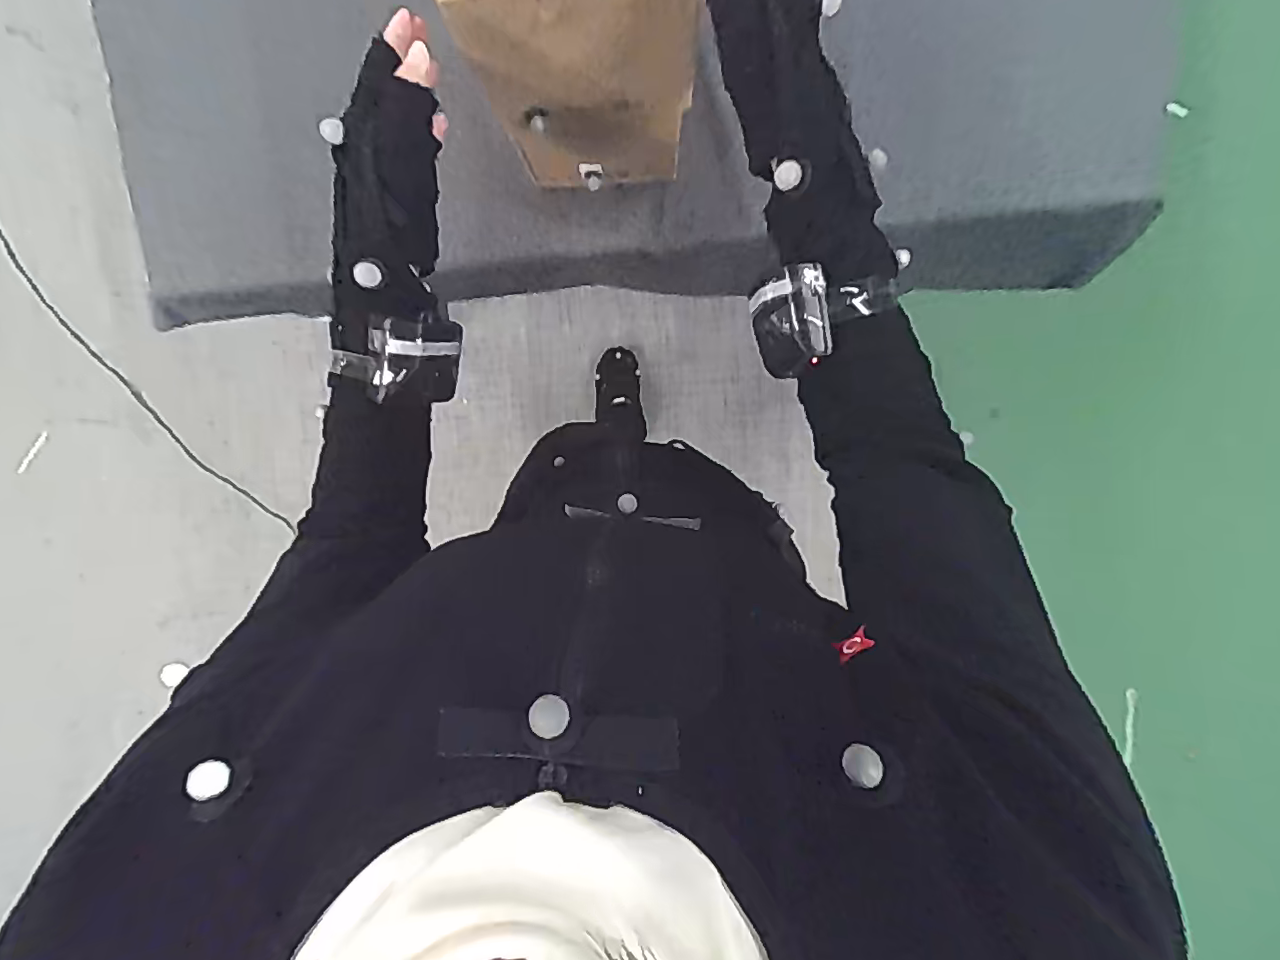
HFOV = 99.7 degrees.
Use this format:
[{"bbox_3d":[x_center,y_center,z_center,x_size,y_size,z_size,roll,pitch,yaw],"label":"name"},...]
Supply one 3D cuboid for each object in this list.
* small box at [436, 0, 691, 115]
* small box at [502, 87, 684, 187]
[{"bbox_3d":[-0.052,-0.397,0.389,0.168,0.176,0.179,-7,95,3],"label":"small box"},{"bbox_3d":[-0.044,-0.428,0.550,0.168,0.176,0.179,-4,98,3],"label":"small box"}]
